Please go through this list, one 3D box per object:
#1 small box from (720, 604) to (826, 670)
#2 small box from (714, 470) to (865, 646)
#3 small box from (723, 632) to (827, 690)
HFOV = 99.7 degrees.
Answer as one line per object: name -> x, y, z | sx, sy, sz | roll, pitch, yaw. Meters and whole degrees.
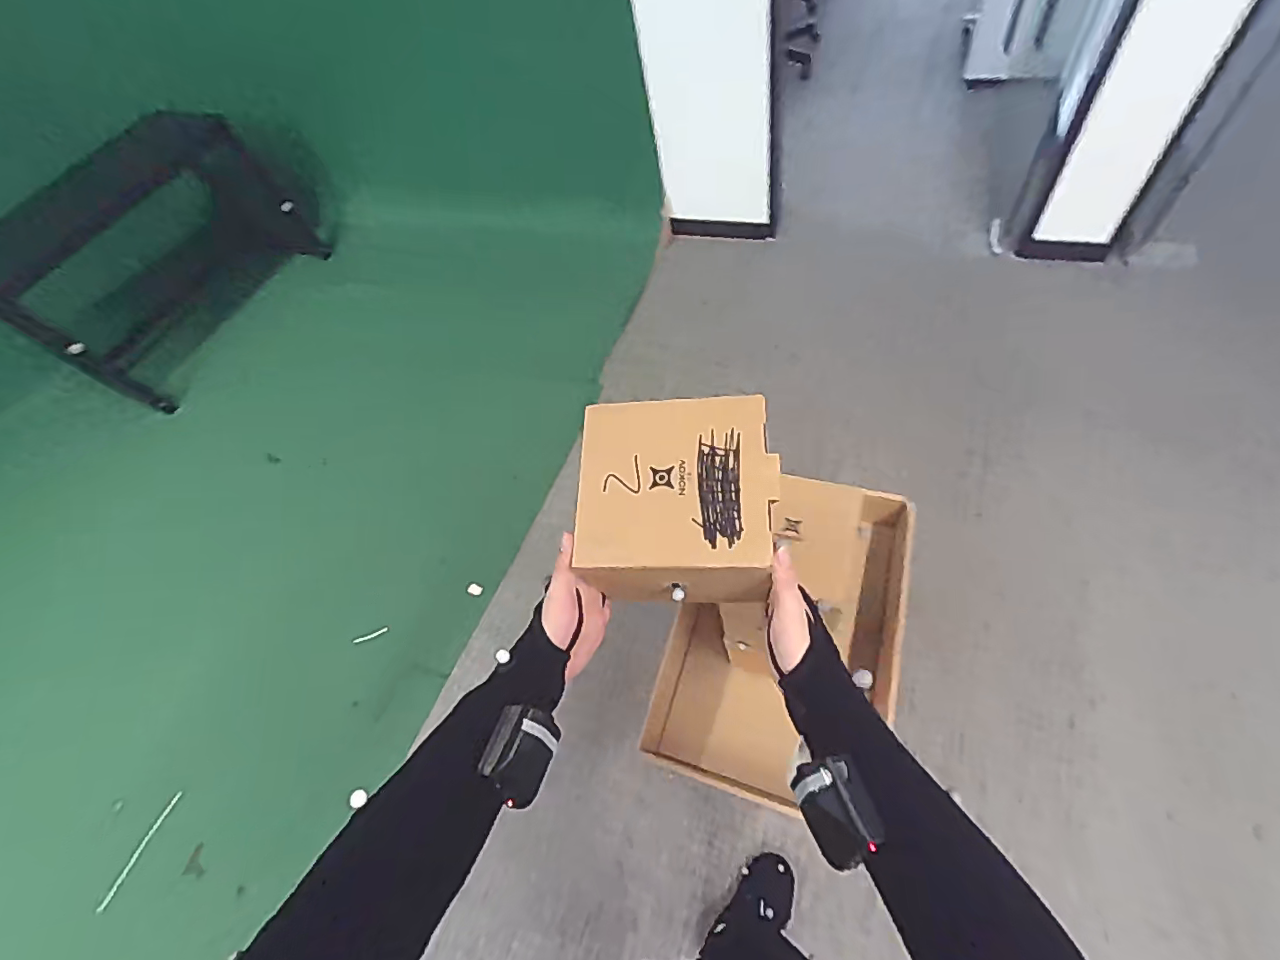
small box -> 0.244, 0.200, 0.915 | 0.168, 0.176, 0.179 | 14, 61, 20
small box -> 0.212, 0.114, 0.778 | 0.168, 0.176, 0.179 | 12, 61, 20
small box -> 0.271, 0.291, 1.050 | 0.179, 0.176, 0.168 | 12, 61, 19
